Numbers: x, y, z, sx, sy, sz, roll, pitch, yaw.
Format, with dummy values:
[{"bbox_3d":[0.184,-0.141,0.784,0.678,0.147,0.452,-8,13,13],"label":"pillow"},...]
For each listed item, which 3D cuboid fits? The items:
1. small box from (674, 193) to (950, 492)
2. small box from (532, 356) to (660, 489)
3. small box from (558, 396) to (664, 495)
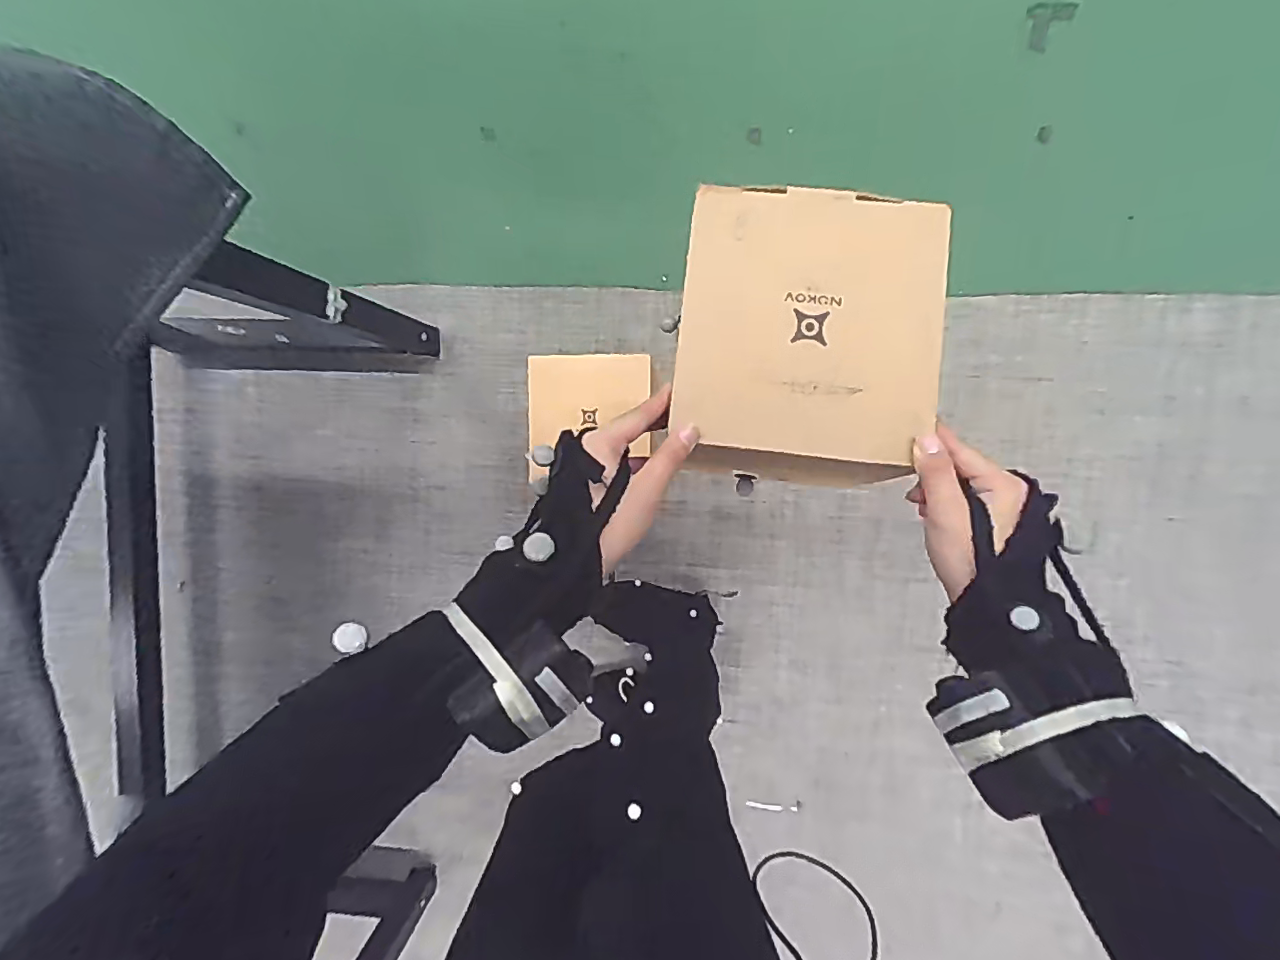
[{"bbox_3d":[0.117,-0.091,0.430,0.168,0.176,0.179,6,85,4],"label":"small box"},{"bbox_3d":[-0.057,-0.080,0.796,0.168,0.176,0.179,0,94,5],"label":"small box"},{"bbox_3d":[-0.045,-0.072,0.961,0.168,0.176,0.179,2,94,6],"label":"small box"}]
